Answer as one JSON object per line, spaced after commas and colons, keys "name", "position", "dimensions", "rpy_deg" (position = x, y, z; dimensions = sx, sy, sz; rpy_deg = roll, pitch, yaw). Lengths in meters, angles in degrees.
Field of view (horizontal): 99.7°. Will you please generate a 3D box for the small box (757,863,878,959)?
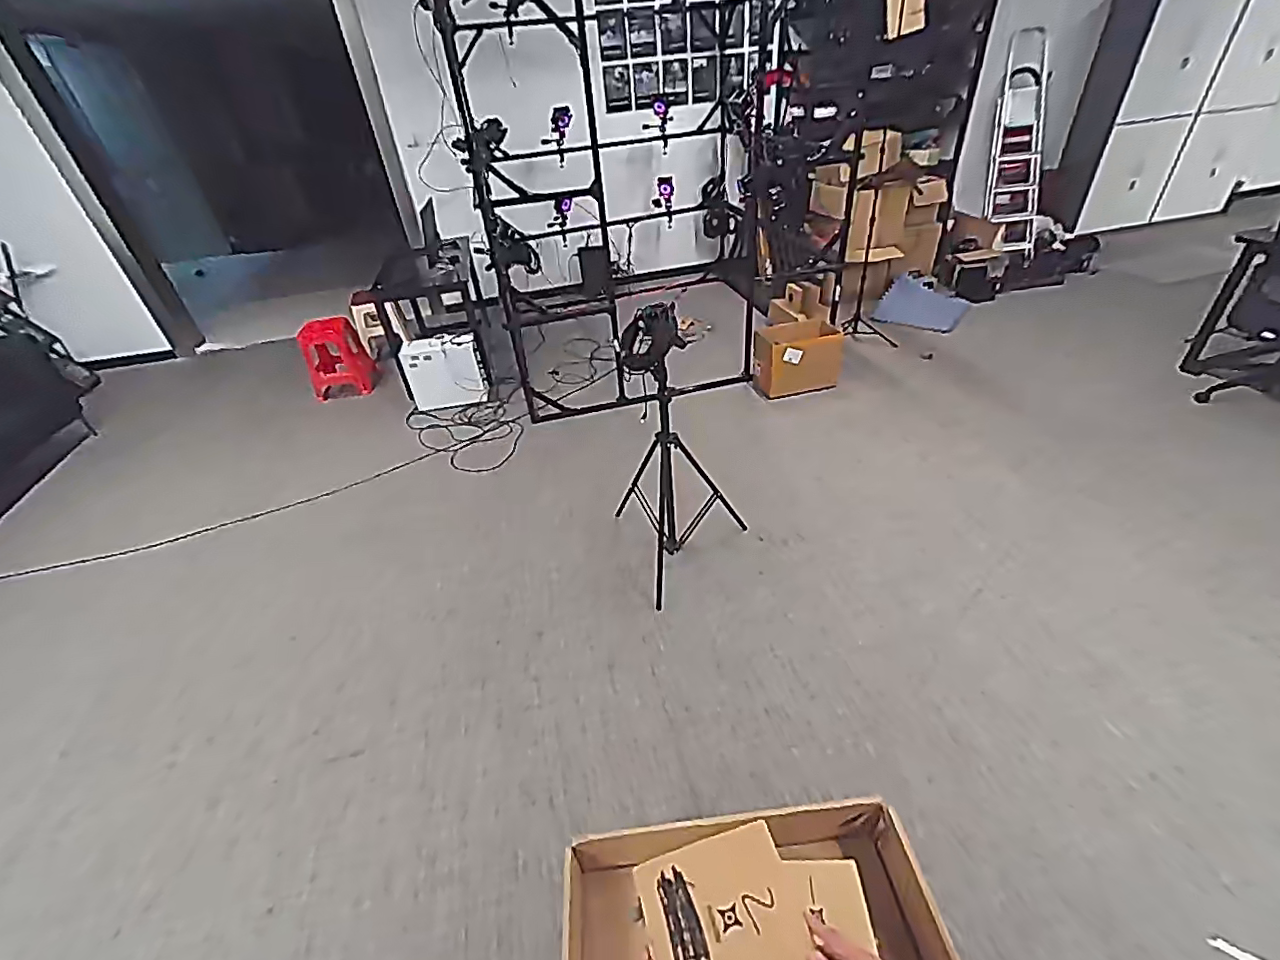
{"name": "small box", "position": [0.290, 0.771, 0.901], "dimensions": [0.168, 0.176, 0.179], "rpy_deg": [-3, 36, 5]}
